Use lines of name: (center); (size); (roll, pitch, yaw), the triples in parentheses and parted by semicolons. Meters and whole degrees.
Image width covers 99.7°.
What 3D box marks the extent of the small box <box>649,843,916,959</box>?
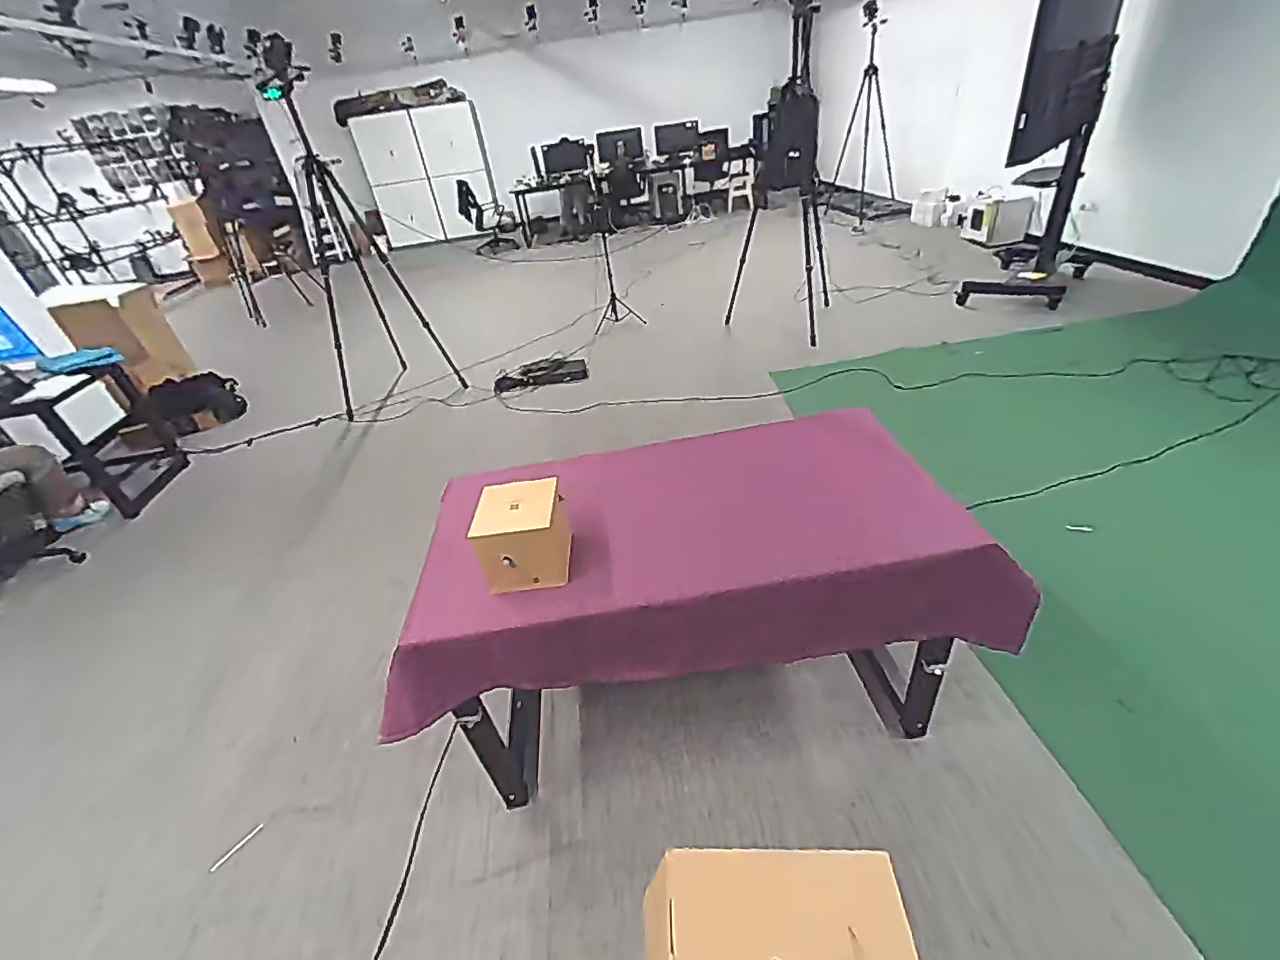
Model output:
small box: (0.098, 0.395, 0.410); (0.179, 0.176, 0.168); (3, 43, -4)

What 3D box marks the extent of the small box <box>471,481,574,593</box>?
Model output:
small box: (-0.243, 0.127, 1.165); (0.168, 0.176, 0.179); (-8, 33, 3)
